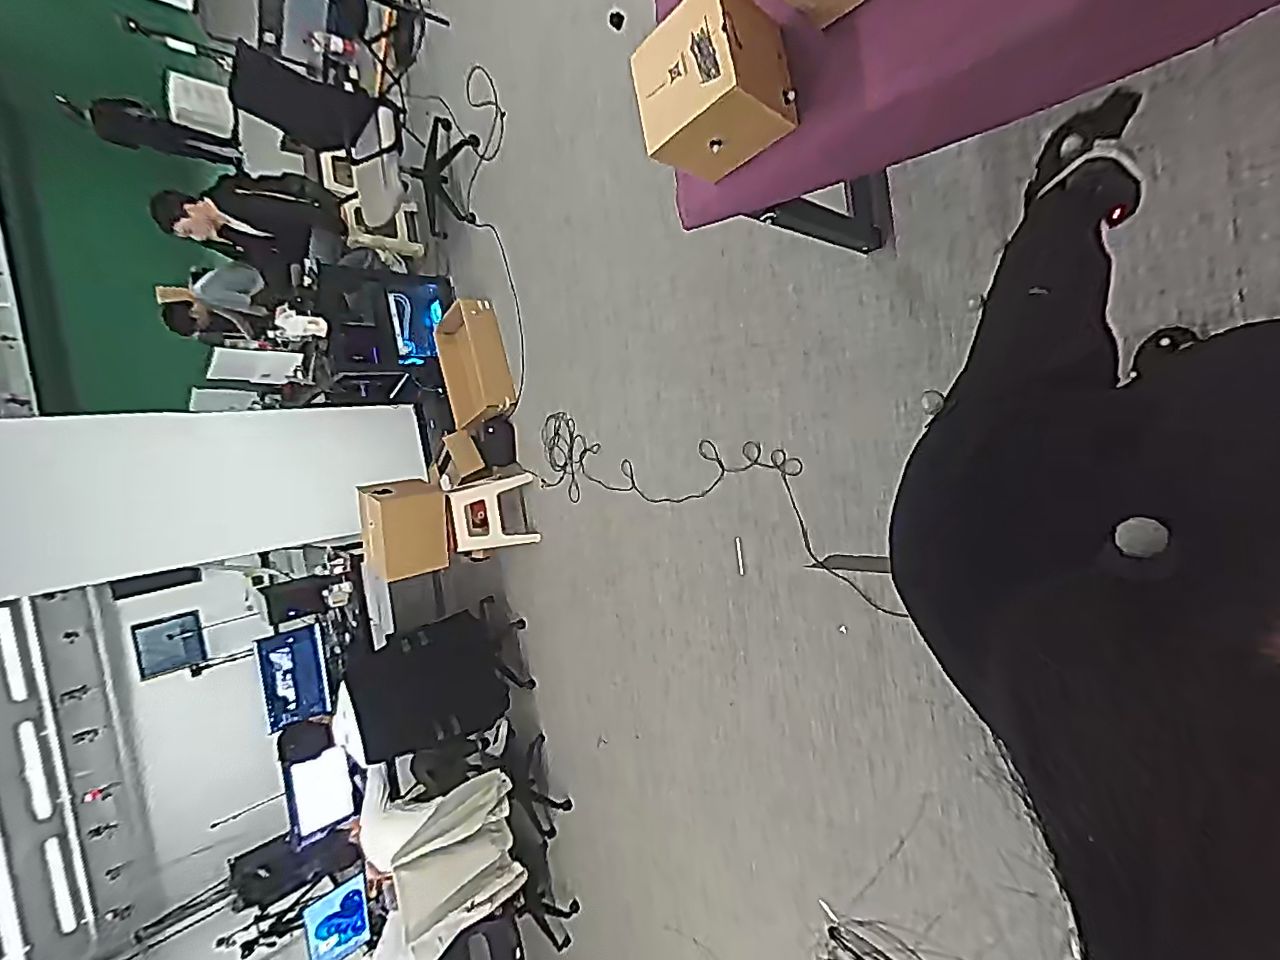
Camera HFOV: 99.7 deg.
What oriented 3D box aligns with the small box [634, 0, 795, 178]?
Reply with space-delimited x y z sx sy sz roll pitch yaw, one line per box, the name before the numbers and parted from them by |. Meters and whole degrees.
small box | 0.121 -0.607 0.835 0.179 0.176 0.168 -12 88 47
